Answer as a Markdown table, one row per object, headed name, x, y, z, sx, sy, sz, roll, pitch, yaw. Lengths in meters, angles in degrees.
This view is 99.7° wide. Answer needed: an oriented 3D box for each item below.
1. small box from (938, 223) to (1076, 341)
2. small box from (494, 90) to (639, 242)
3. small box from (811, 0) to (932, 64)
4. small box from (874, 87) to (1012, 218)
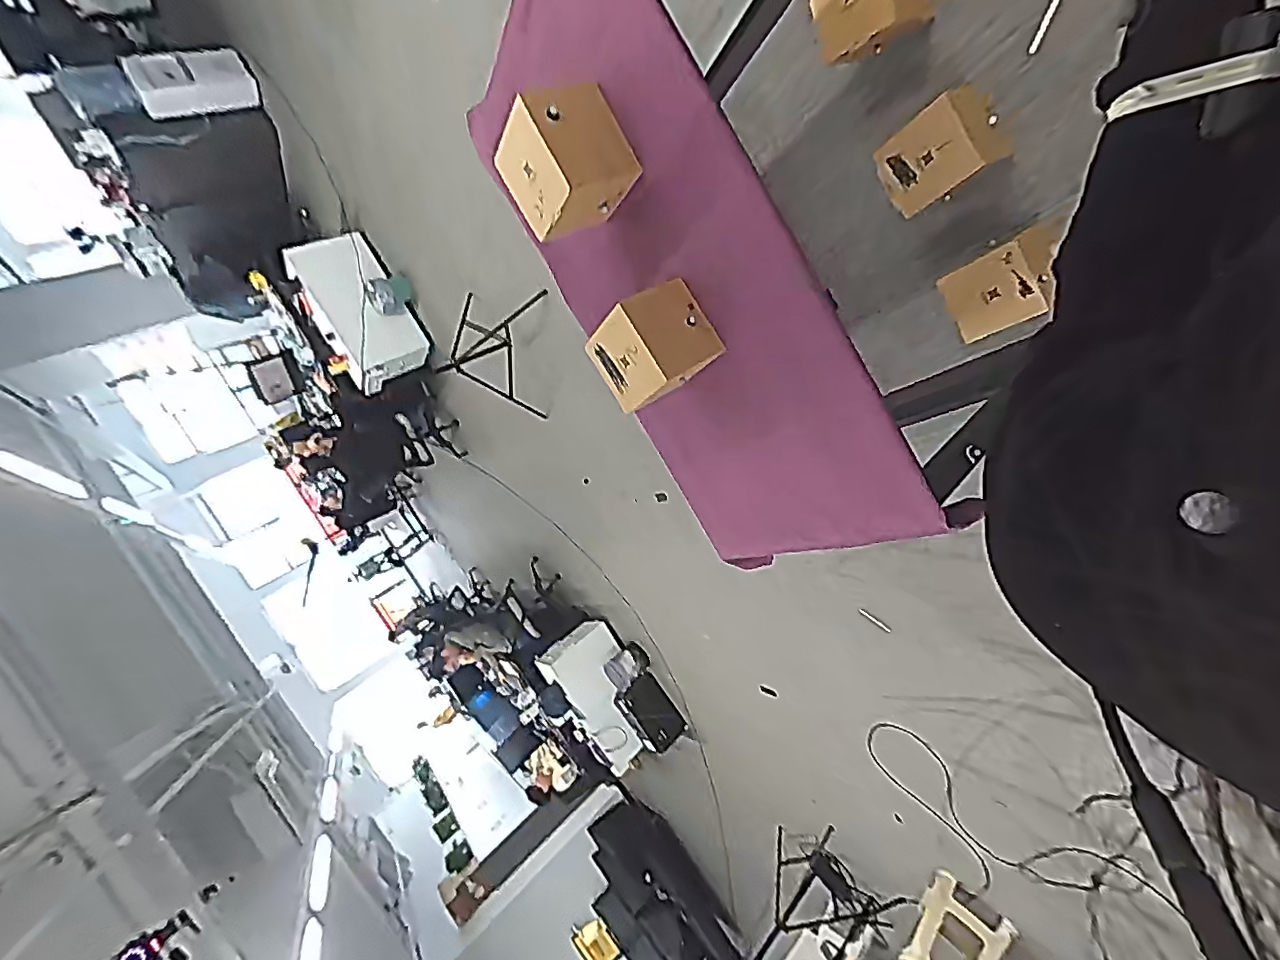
| name | x | y | z | sx | sy | sz | roll | pitch | yaw |
| --- | --- | --- | --- | --- | --- | --- | --- | --- | --- |
| small box | 0.819 | -0.440 | 1.209 | 0.168 | 0.176 | 0.179 | 60 | 151 | -6 |
| small box | -0.135 | -0.578 | 0.992 | 0.179 | 0.176 | 0.168 | 59 | 151 | -6 |
| small box | 0.484 | -1.019 | 1.136 | 0.168 | 0.176 | 0.179 | 5 | 124 | 53 |
| small box | 0.659 | -0.711 | 1.177 | 0.168 | 0.176 | 0.179 | 58 | 149 | -4 |
